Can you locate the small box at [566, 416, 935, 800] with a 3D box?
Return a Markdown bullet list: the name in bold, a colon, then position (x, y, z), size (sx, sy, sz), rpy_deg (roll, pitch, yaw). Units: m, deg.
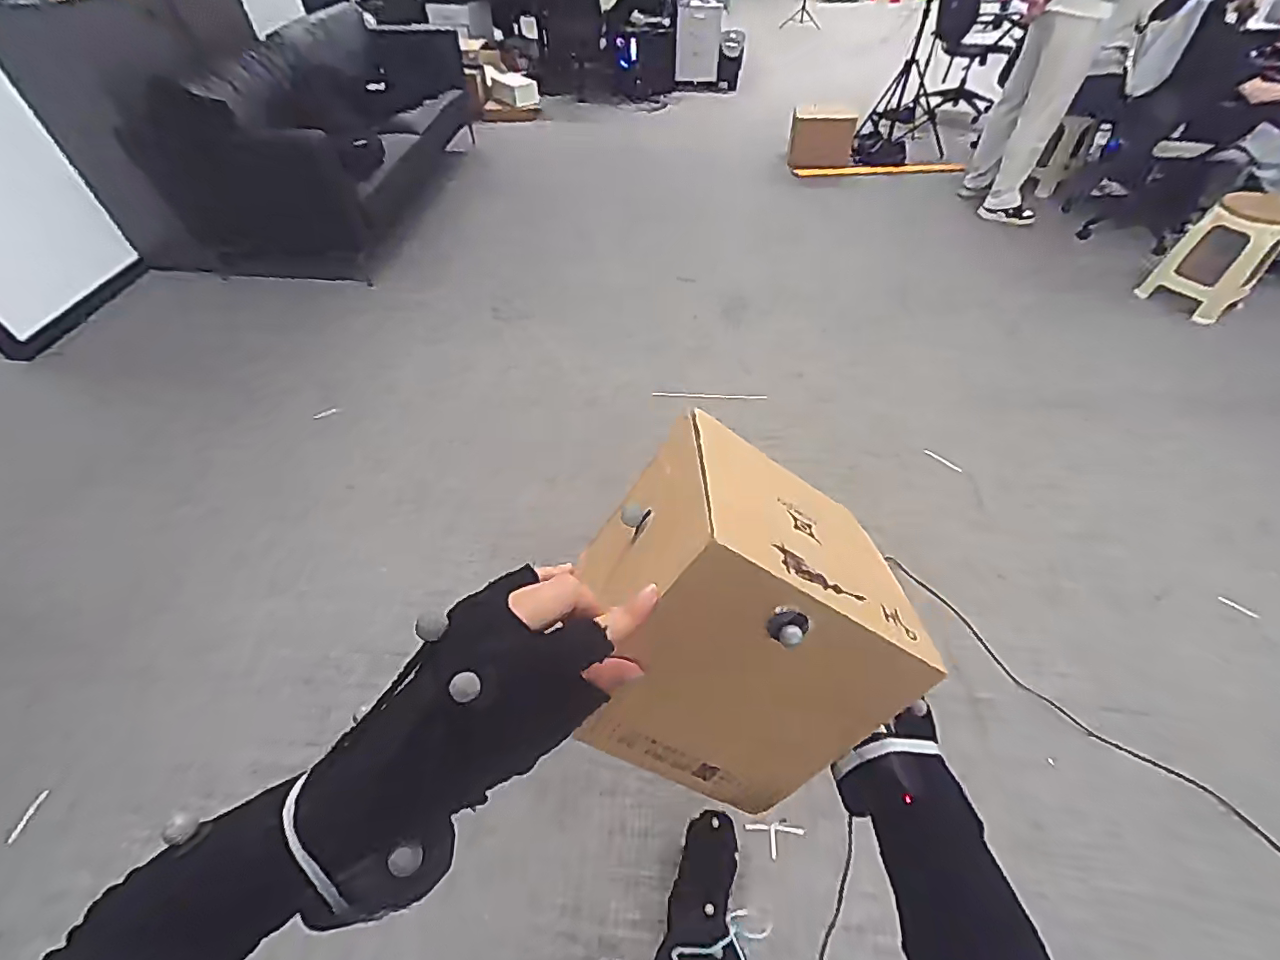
- **small box**: position (0.062, 0.088, 0.400), size (0.168, 0.176, 0.179), rpy_deg (31, 24, -14)
